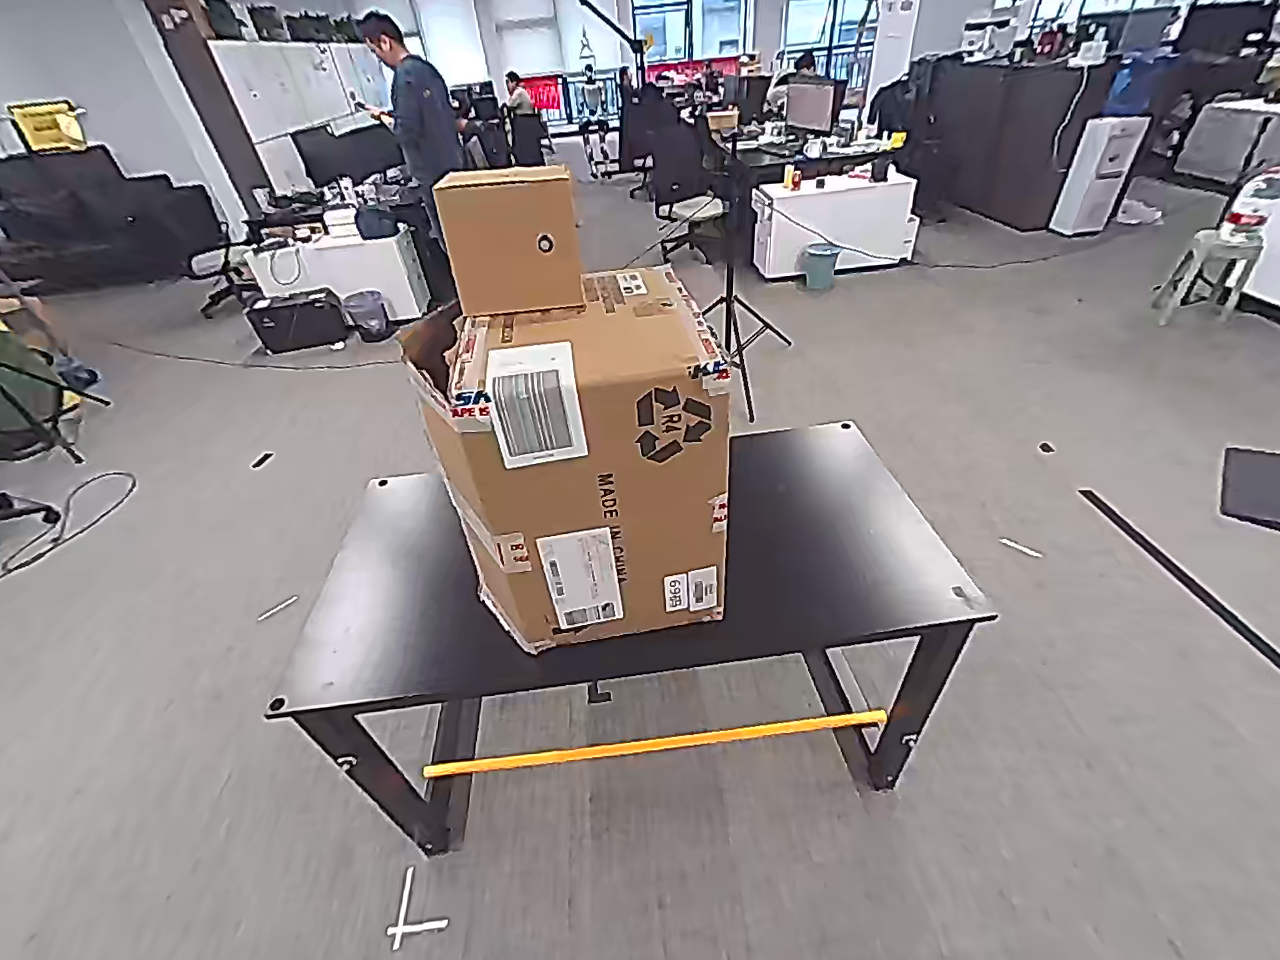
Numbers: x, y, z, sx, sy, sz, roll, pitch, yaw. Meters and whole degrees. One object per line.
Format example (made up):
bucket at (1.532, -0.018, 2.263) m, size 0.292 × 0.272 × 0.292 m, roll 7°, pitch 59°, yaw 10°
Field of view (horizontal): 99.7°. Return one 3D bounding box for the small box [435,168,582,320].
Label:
small box at (-0.182, -0.352, 0.804) m, size 0.179 × 0.176 × 0.168 m, roll -8°, pitch 35°, yaw -5°
